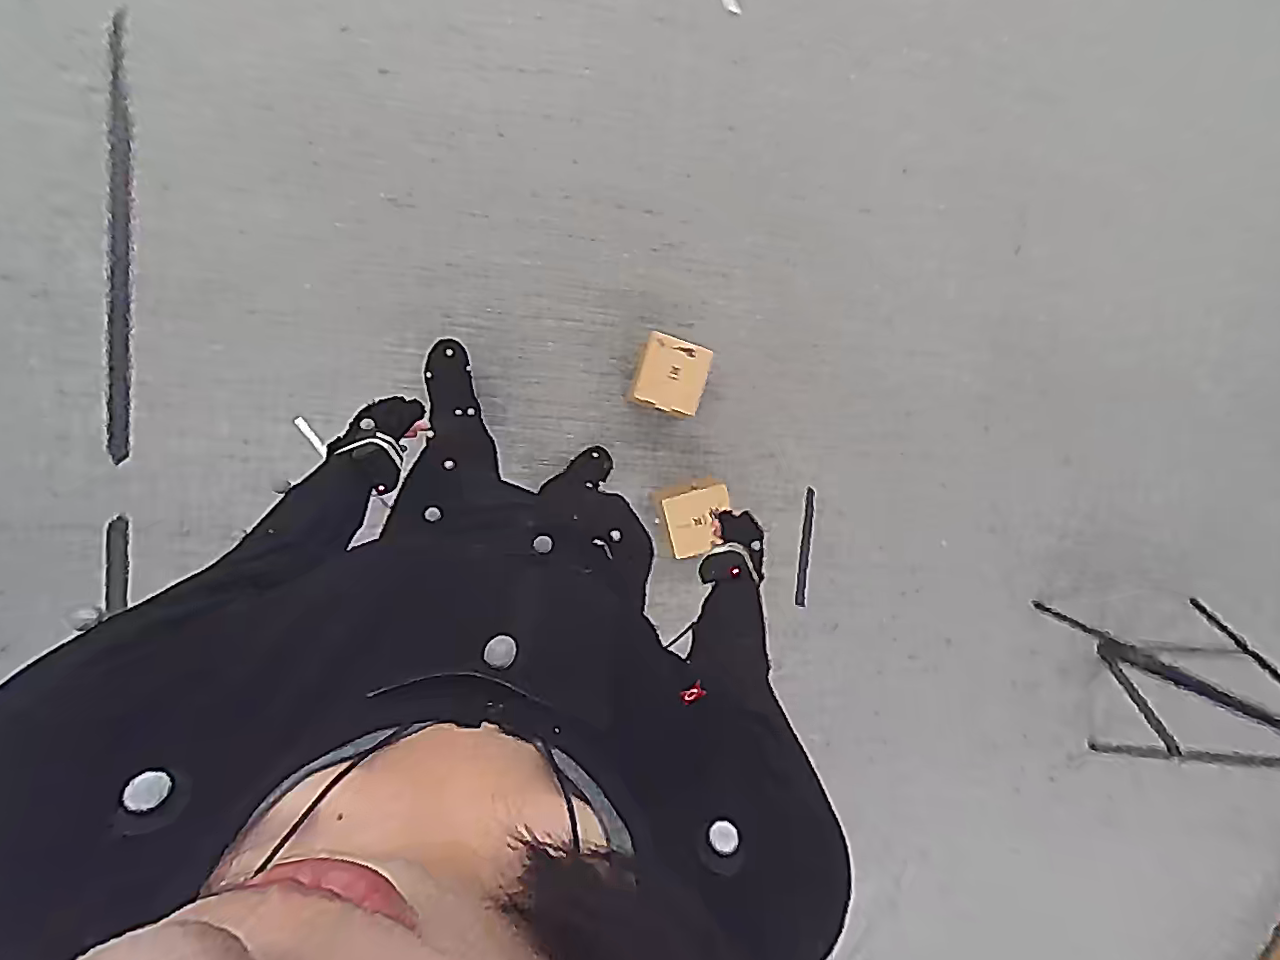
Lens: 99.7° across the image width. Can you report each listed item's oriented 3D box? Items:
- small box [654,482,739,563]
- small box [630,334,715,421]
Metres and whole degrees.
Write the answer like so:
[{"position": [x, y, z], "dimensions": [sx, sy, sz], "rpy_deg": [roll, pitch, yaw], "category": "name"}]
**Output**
[{"position": [0.150, 0.109, 1.472], "dimensions": [0.179, 0.176, 0.168], "rpy_deg": [-14, 97, -5], "category": "small box"}, {"position": [0.078, -0.263, 1.426], "dimensions": [0.168, 0.176, 0.179], "rpy_deg": [18, 93, -9], "category": "small box"}]
